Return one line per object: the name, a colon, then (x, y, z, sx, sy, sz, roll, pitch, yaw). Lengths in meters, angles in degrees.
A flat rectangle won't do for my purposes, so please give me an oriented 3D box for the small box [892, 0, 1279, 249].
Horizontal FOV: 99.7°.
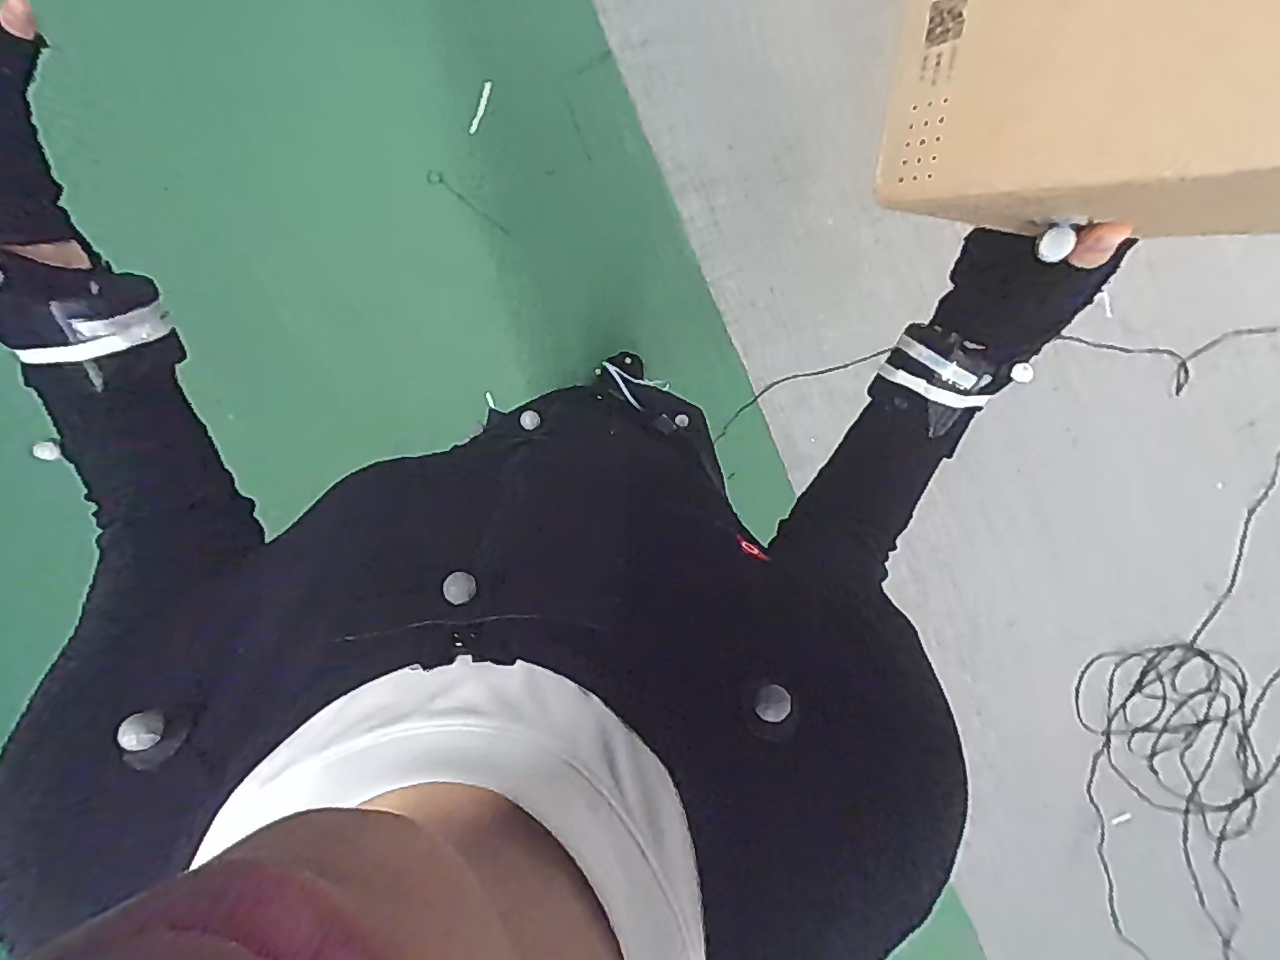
small box: (0.227, -0.177, 0.189, 0.179, 0.176, 0.168, -9, 114, -31)
